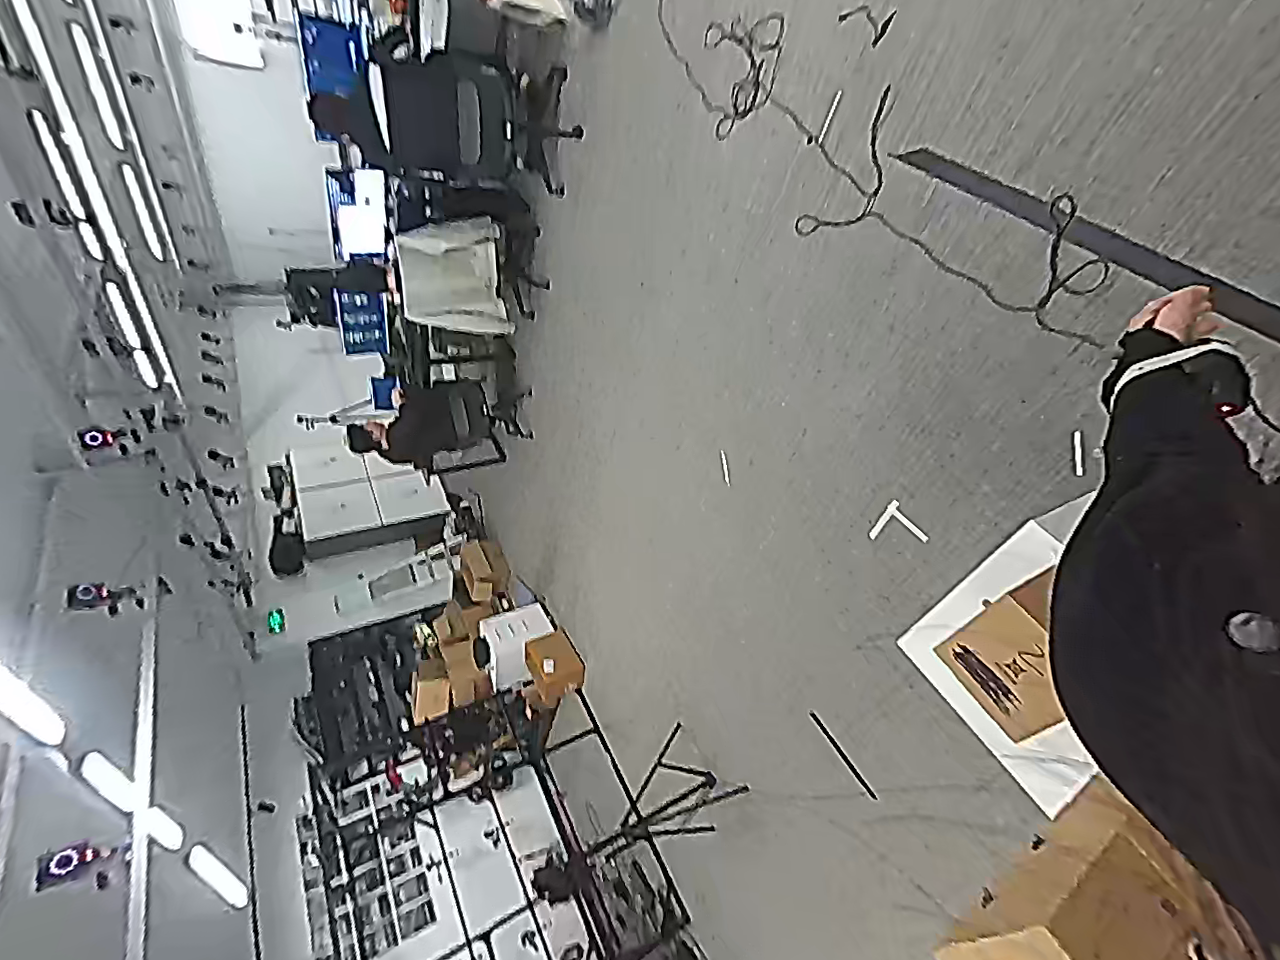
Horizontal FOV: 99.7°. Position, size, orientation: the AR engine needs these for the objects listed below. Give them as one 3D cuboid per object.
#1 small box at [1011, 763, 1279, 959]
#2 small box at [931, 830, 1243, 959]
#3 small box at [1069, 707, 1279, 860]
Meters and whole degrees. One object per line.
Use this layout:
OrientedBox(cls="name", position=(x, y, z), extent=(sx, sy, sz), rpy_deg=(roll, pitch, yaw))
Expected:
OrientedBox(cls="small box", position=(0.580, 0.454, 0.606), extent=(0.168, 0.176, 0.179), rpy_deg=(54, 144, 34))
OrientedBox(cls="small box", position=(0.441, 0.486, 0.528), extent=(0.168, 0.176, 0.179), rpy_deg=(53, 142, 34))
OrientedBox(cls="small box", position=(0.718, 0.423, 0.686), extent=(0.168, 0.176, 0.179), rpy_deg=(55, 145, 33))
